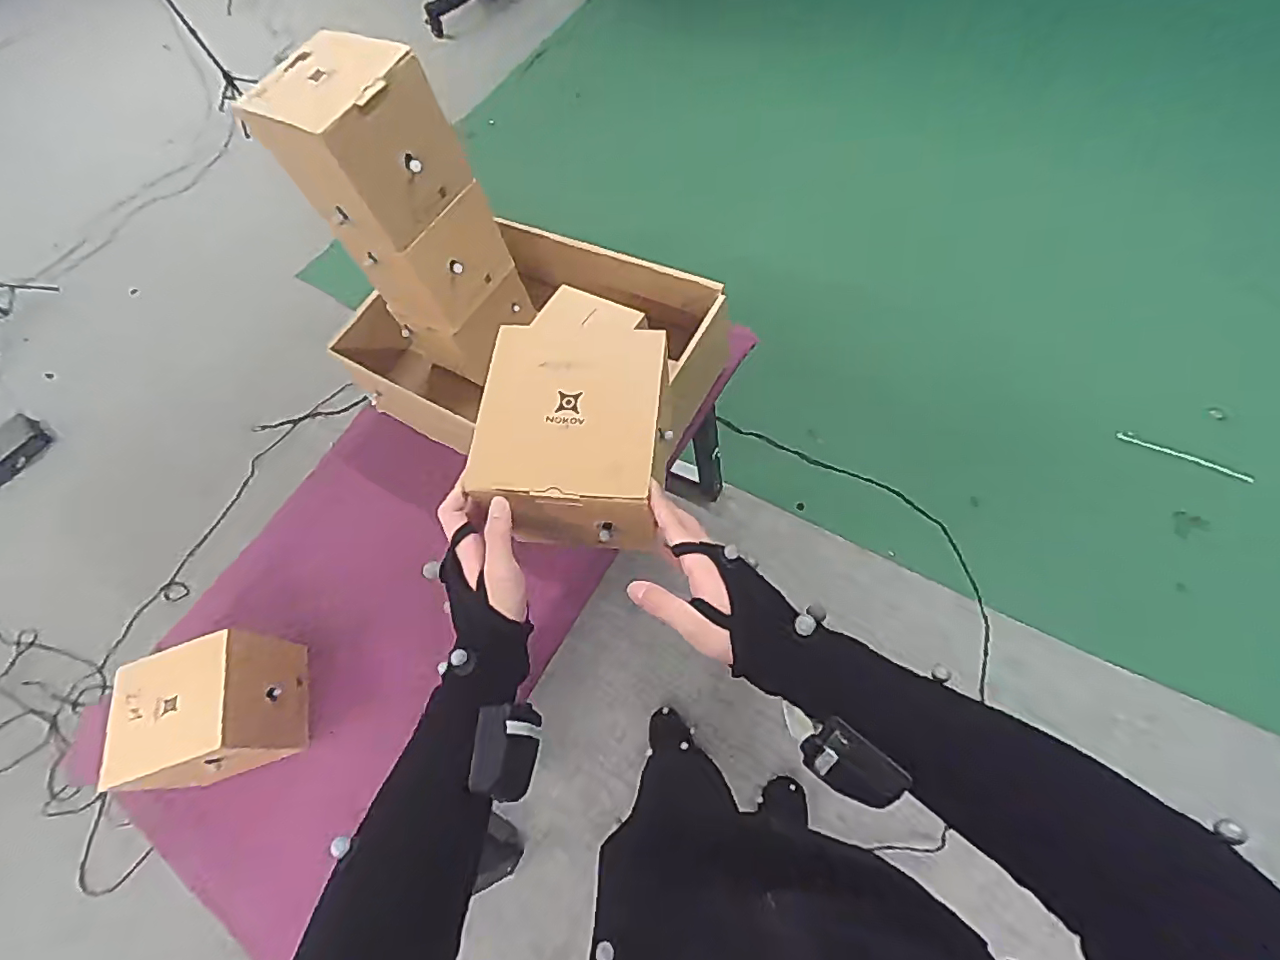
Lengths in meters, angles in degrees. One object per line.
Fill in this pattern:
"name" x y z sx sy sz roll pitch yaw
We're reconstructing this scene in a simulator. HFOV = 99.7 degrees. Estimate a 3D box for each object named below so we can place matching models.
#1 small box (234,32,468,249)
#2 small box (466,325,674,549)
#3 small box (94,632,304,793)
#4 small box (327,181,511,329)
"small box" -0.366 -0.441 0.719 0.179 0.176 0.168 28 72 20
"small box" -0.055 -0.035 0.564 0.168 0.176 0.179 6 68 6
"small box" -0.635 0.346 0.806 0.179 0.176 0.168 -19 61 0
"small box" -0.339 -0.371 0.865 0.179 0.176 0.168 27 73 20
